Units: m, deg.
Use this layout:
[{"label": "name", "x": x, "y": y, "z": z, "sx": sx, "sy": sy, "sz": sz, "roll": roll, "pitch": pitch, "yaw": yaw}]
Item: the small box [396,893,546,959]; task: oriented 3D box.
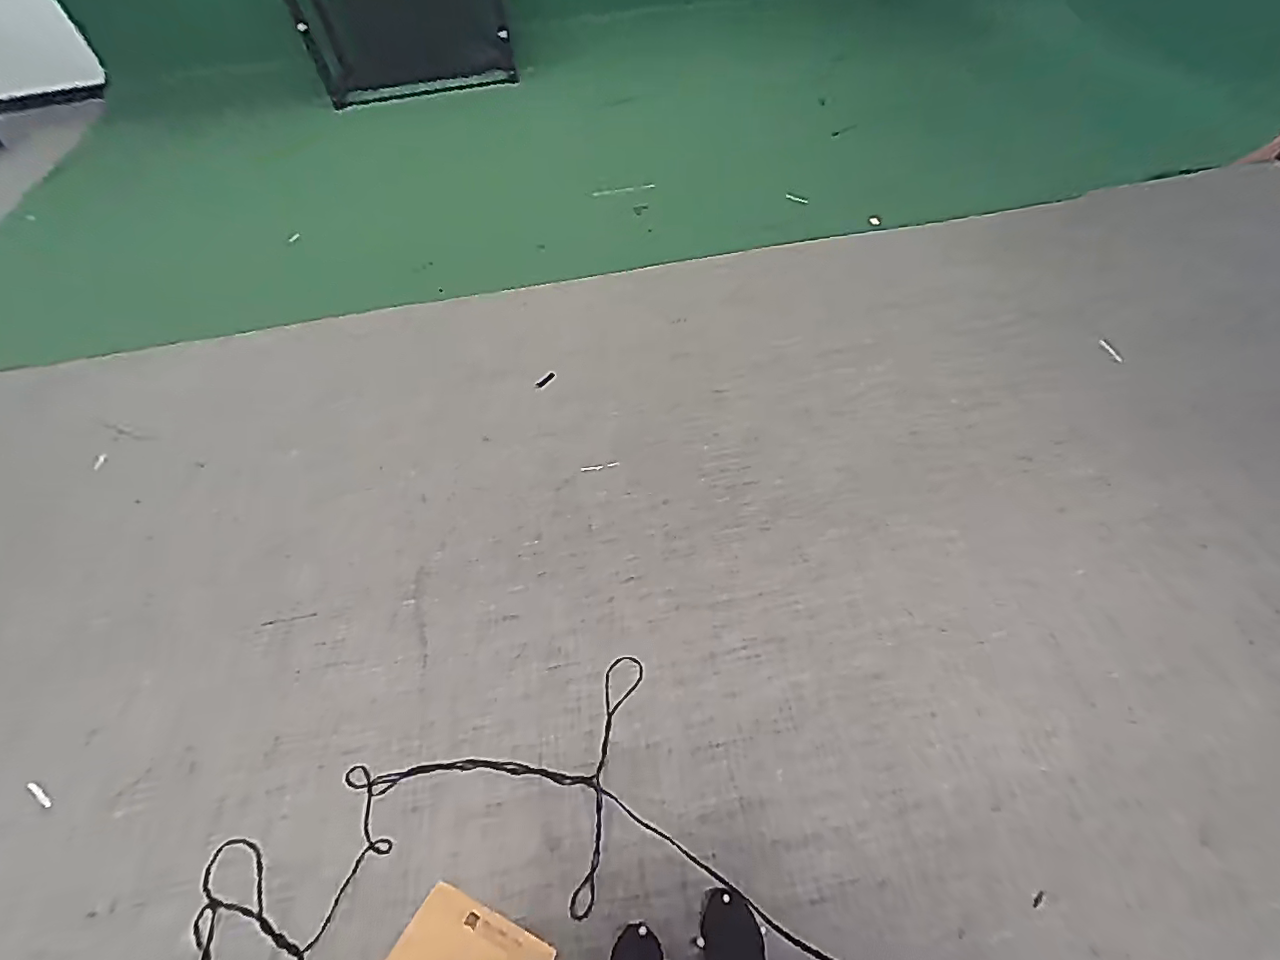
[{"label": "small box", "x": -0.213, "y": 0.616, "z": 0.599, "sx": 0.168, "sy": 0.179, "sz": 0.176, "roll": 21, "pitch": 25, "yaw": 10}]
